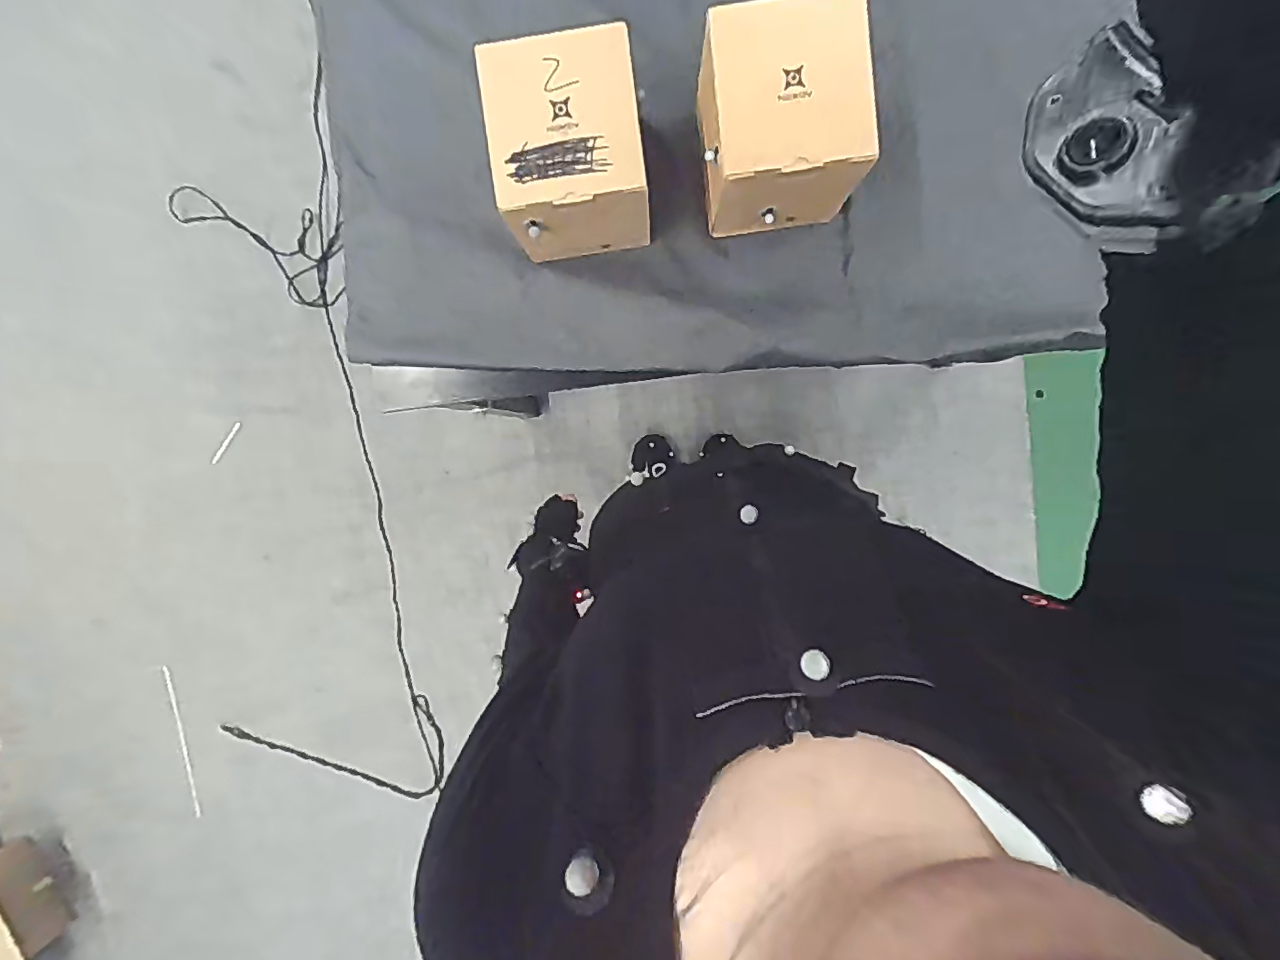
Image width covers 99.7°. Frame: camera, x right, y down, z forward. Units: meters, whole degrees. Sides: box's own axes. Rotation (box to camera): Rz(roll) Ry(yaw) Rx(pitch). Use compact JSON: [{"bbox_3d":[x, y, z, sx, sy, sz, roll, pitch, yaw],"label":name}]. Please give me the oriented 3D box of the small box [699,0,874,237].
[{"bbox_3d":[0.166,-0.425,0.663,0.168,0.176,0.179,-7,94,3],"label":"small box"}]
